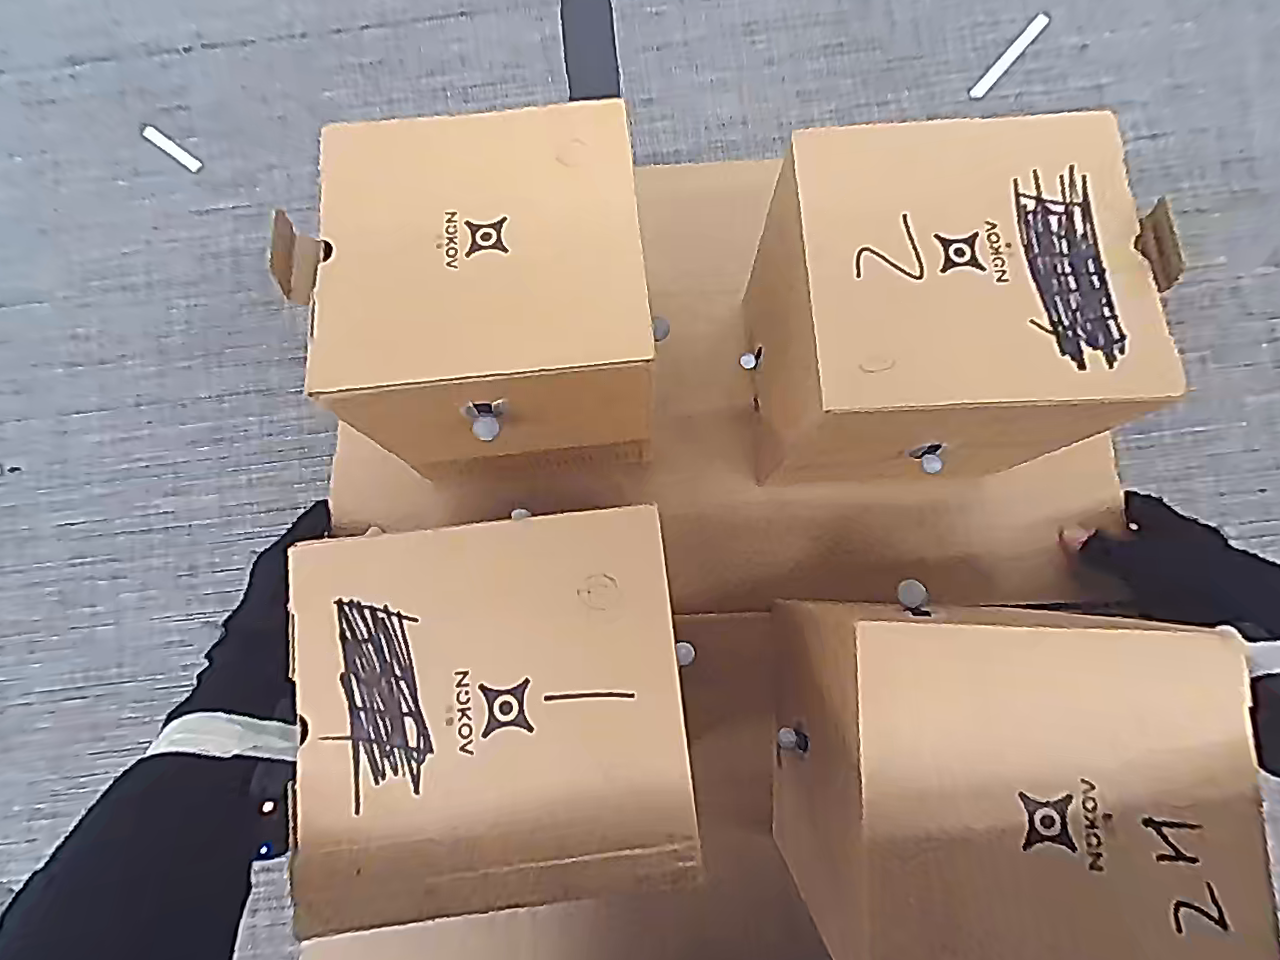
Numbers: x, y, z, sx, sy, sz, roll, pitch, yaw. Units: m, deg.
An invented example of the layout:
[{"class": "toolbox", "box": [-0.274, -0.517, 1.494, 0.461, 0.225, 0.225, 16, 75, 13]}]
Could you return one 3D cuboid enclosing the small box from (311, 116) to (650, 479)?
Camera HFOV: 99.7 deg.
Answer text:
[{"class": "small box", "box": [-0.088, -0.105, 0.372, 0.179, 0.176, 0.168, -6, 75, 0]}]
